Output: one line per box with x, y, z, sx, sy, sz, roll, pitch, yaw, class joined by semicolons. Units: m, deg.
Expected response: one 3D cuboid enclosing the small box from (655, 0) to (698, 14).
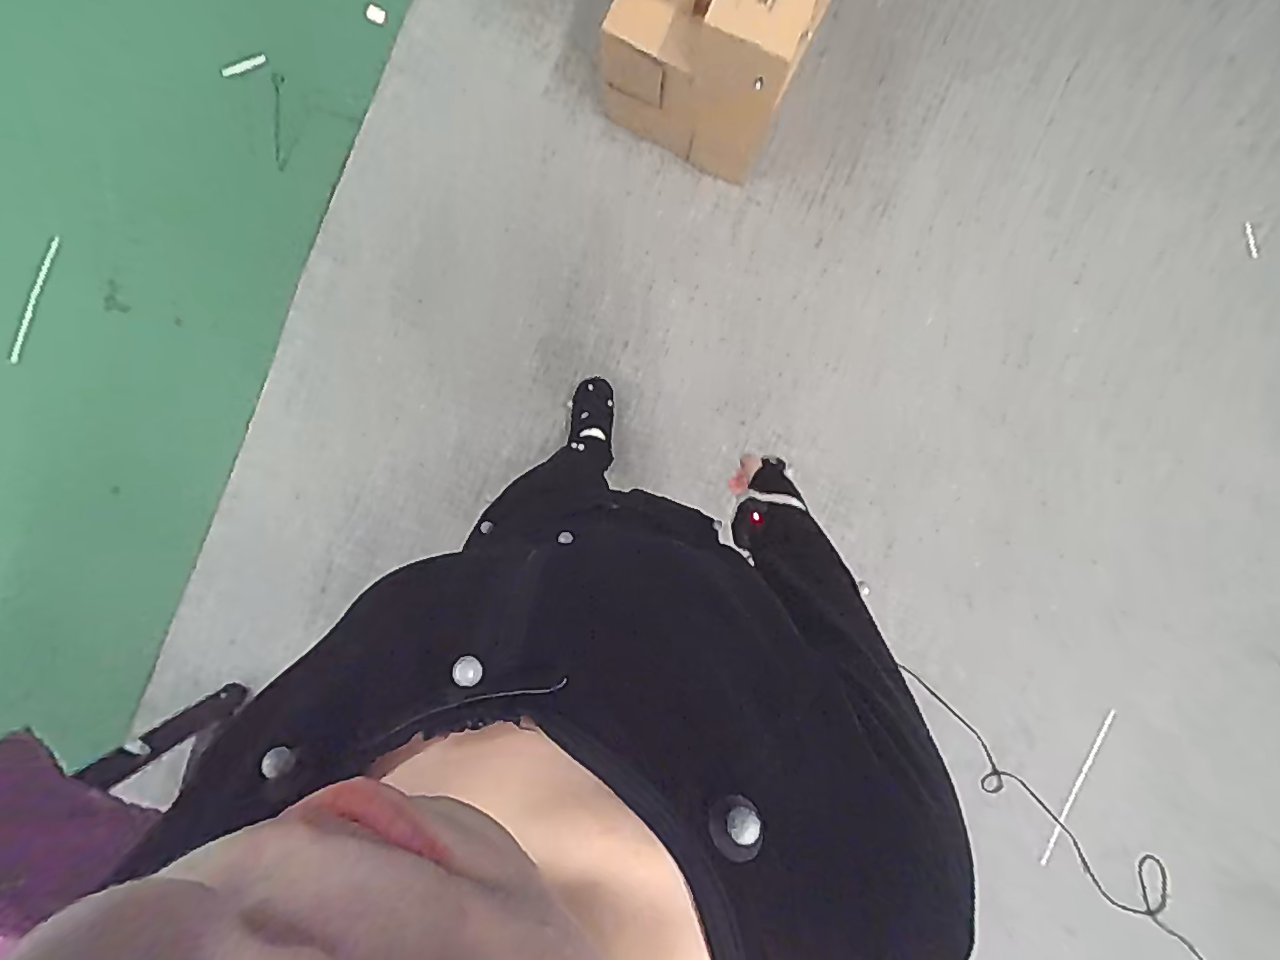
0.068;-1.069;1.035;0.168;0.176;0.179;25;91;0;small box

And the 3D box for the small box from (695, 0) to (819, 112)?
0.221;-0.859;1.043;0.179;0.176;0.168;23;91;-1;small box
